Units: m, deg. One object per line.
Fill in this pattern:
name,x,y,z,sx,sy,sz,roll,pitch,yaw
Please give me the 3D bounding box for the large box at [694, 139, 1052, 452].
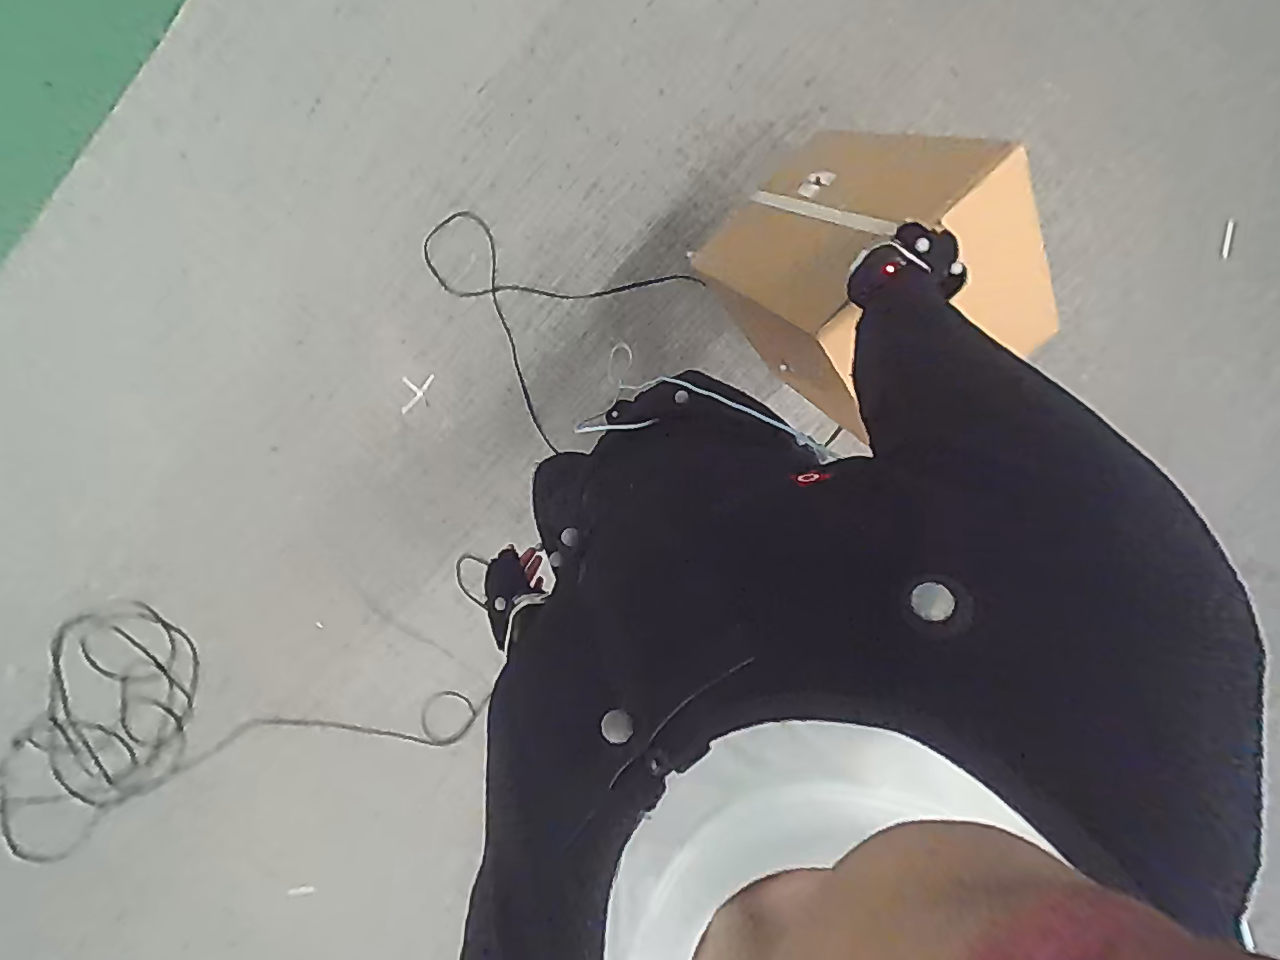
large box,0.364,-0.316,0.905,0.320,0.408,0.320,-42,127,9
